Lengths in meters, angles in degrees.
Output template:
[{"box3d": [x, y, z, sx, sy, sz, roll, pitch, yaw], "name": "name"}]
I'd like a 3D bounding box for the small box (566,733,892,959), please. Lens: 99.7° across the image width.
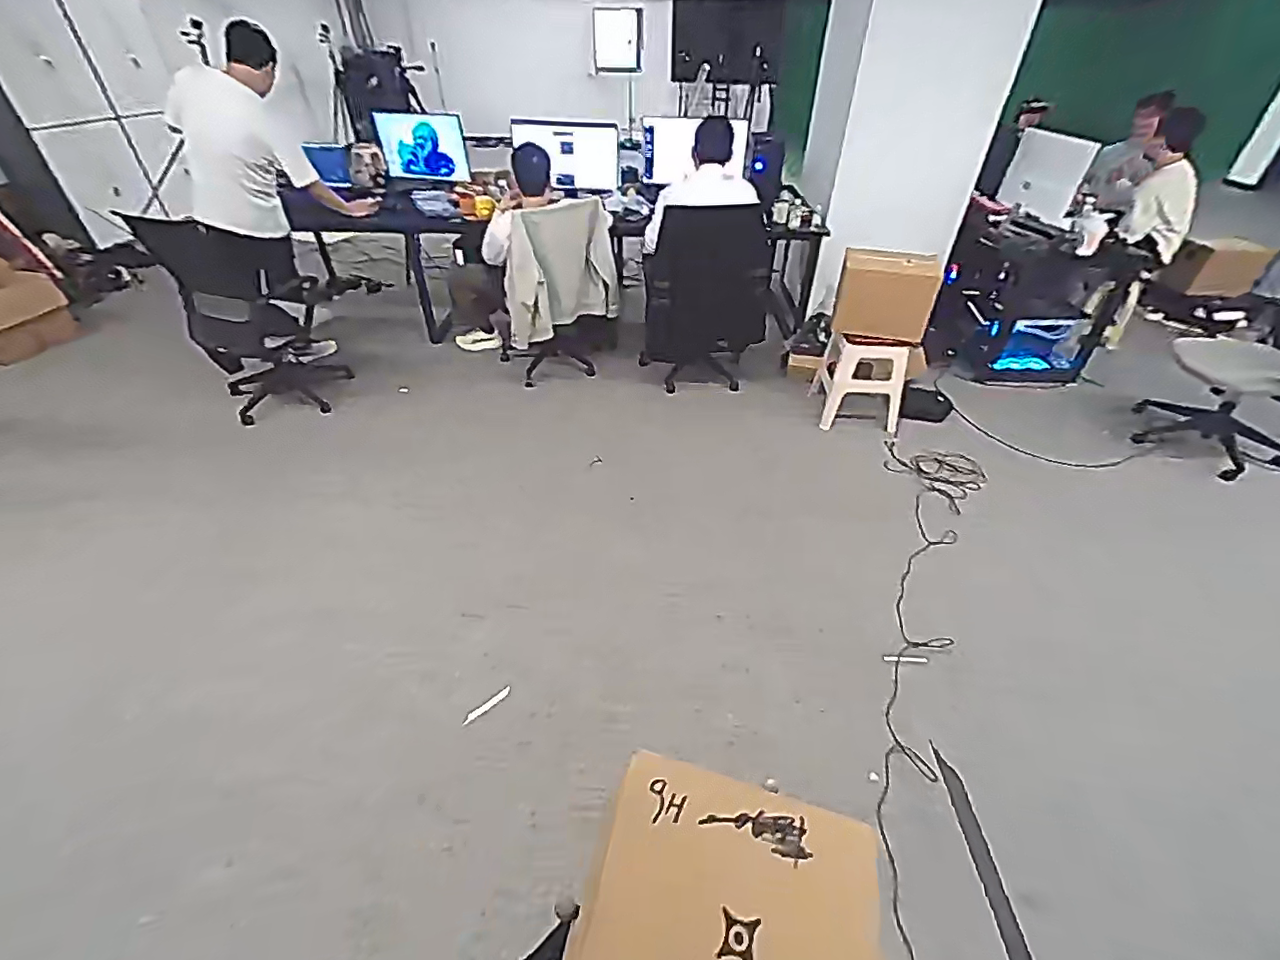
[{"box3d": [0.046, 0.301, 0.357, 0.168, 0.176, 0.179, 17, 50, 3], "name": "small box"}]
